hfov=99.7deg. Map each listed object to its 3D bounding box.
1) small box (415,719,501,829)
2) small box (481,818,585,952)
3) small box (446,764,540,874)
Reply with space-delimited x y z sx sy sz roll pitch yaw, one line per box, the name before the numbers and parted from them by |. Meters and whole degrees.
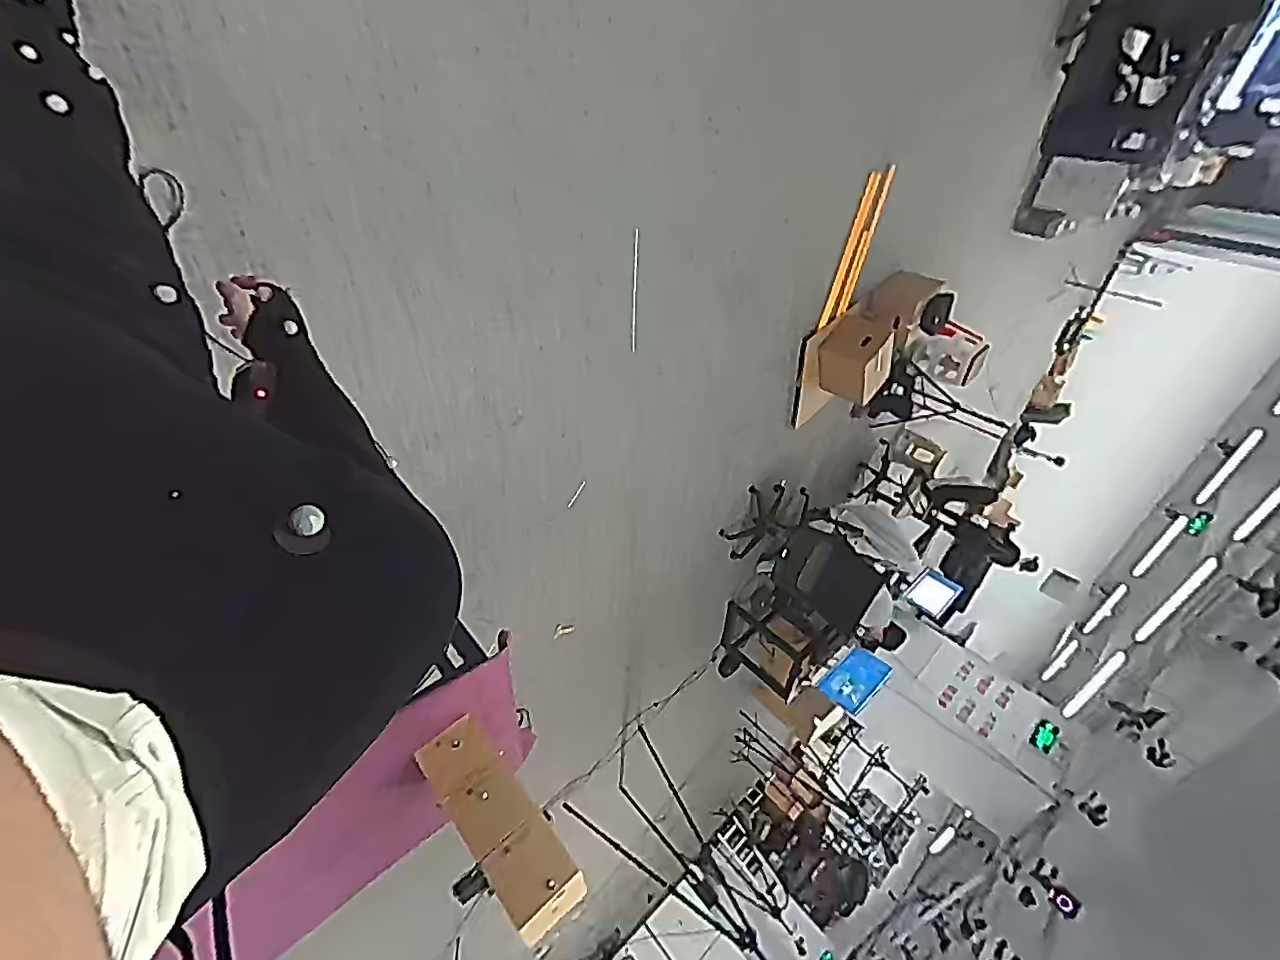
small box | -0.469 0.775 1.436 0.168 0.176 0.179 -31 138 -29
small box | -0.245 0.929 1.252 0.168 0.176 0.179 -30 139 -31
small box | -0.354 0.849 1.345 0.168 0.176 0.179 -32 139 -29
